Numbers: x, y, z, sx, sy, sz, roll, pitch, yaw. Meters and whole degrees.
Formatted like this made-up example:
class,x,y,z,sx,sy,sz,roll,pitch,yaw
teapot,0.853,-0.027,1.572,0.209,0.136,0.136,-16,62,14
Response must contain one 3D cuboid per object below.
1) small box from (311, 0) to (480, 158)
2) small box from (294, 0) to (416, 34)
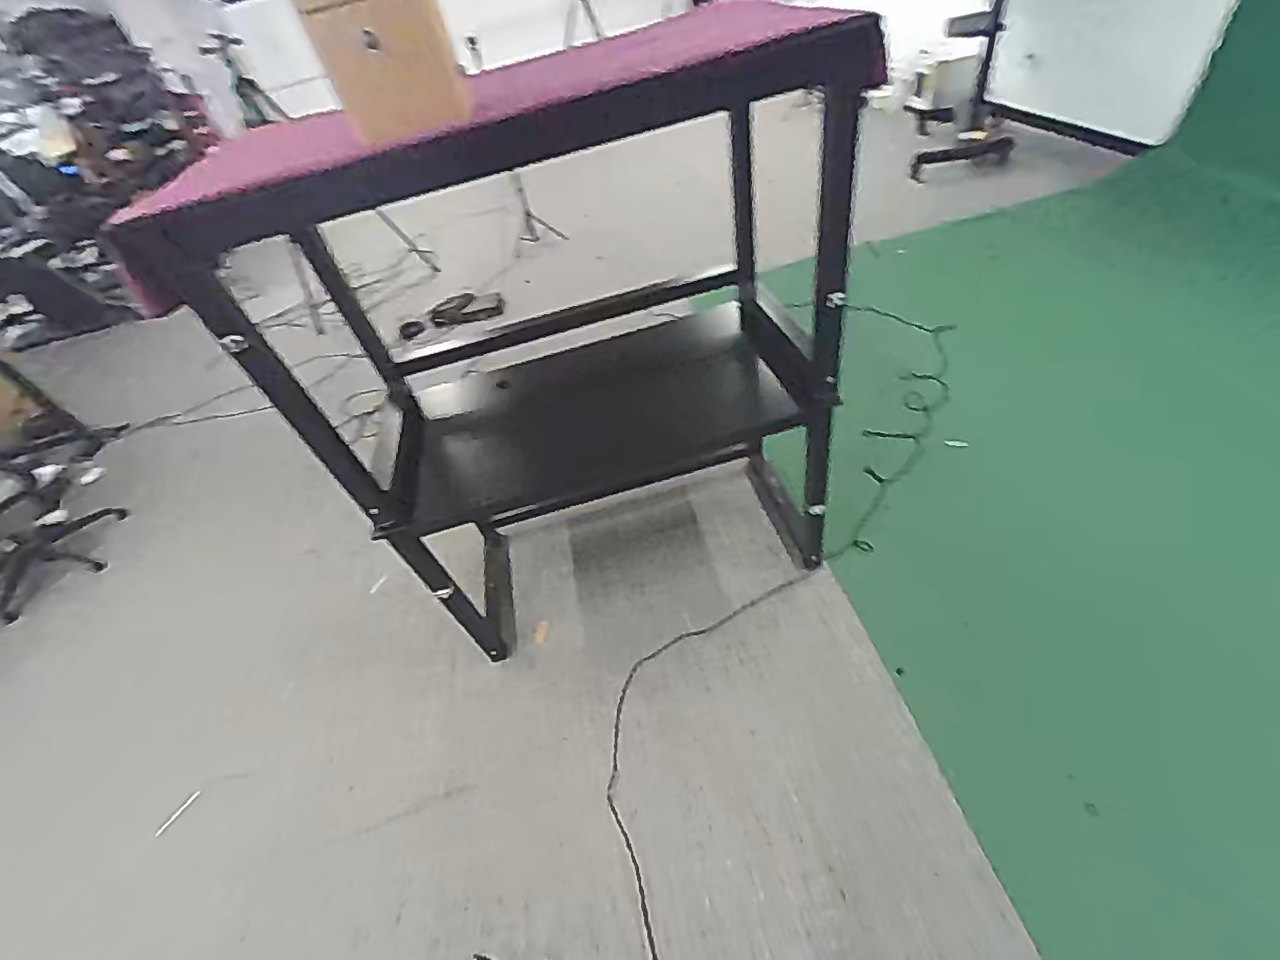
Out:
class,x,y,z,sx,sy,sz,roll,pitch,yaw
small box,-0.381,-0.648,0.878,0.179,0.176,0.168,-15,44,2
small box,-0.414,-0.762,0.764,0.179,0.176,0.168,-16,43,2
